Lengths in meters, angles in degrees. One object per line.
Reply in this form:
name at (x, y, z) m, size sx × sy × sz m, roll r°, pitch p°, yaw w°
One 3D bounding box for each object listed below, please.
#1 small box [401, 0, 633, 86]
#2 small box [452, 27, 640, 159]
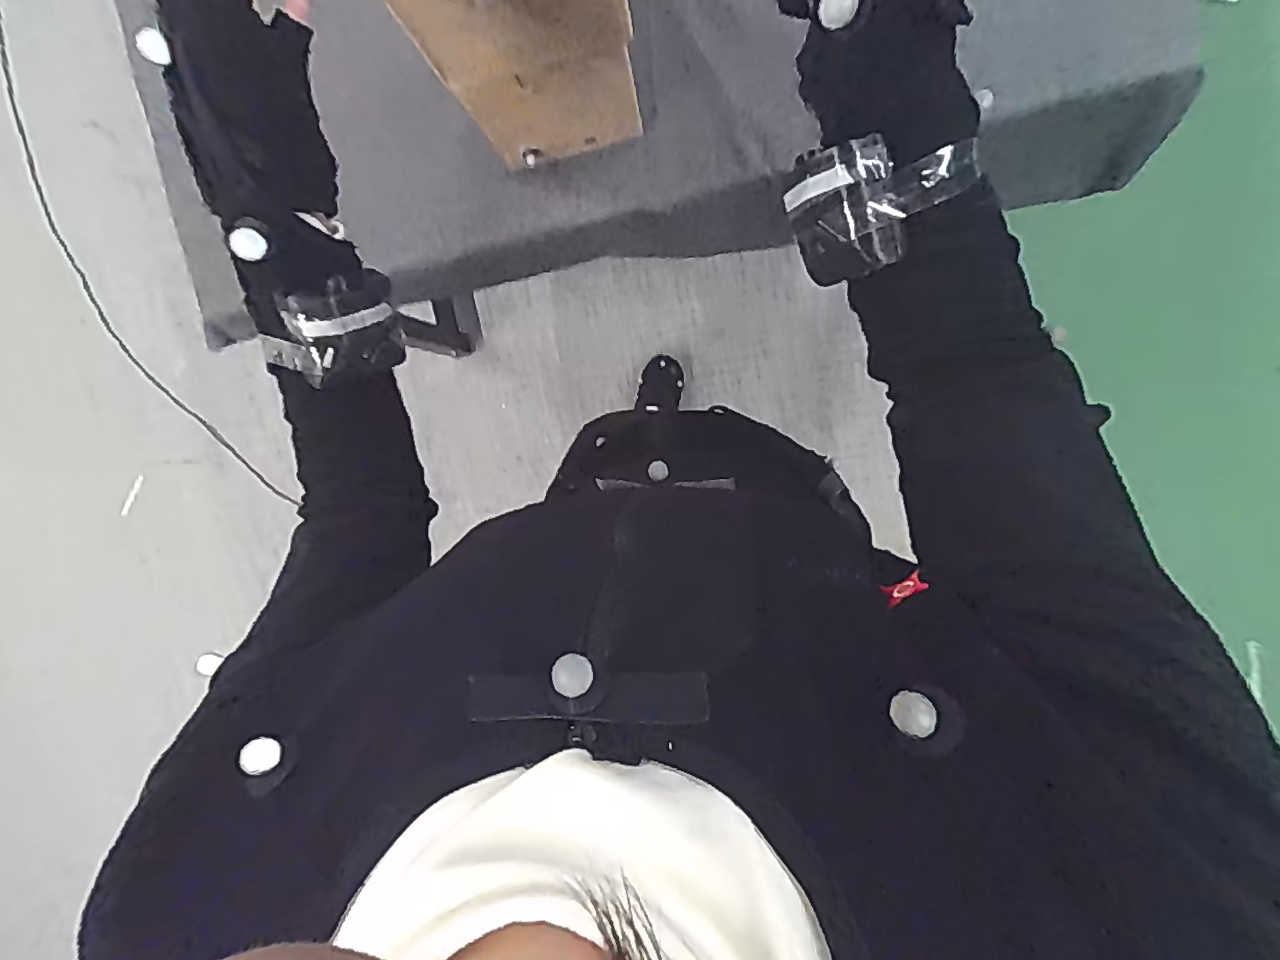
small box at (-0.114, -0.447, 0.408) m, size 0.179 × 0.176 × 0.168 m, roll -14°, pitch 93°, yaw 7°
small box at (-0.101, -0.469, 0.567) m, size 0.168 × 0.176 × 0.179 m, roll -11°, pitch 94°, yaw 7°
